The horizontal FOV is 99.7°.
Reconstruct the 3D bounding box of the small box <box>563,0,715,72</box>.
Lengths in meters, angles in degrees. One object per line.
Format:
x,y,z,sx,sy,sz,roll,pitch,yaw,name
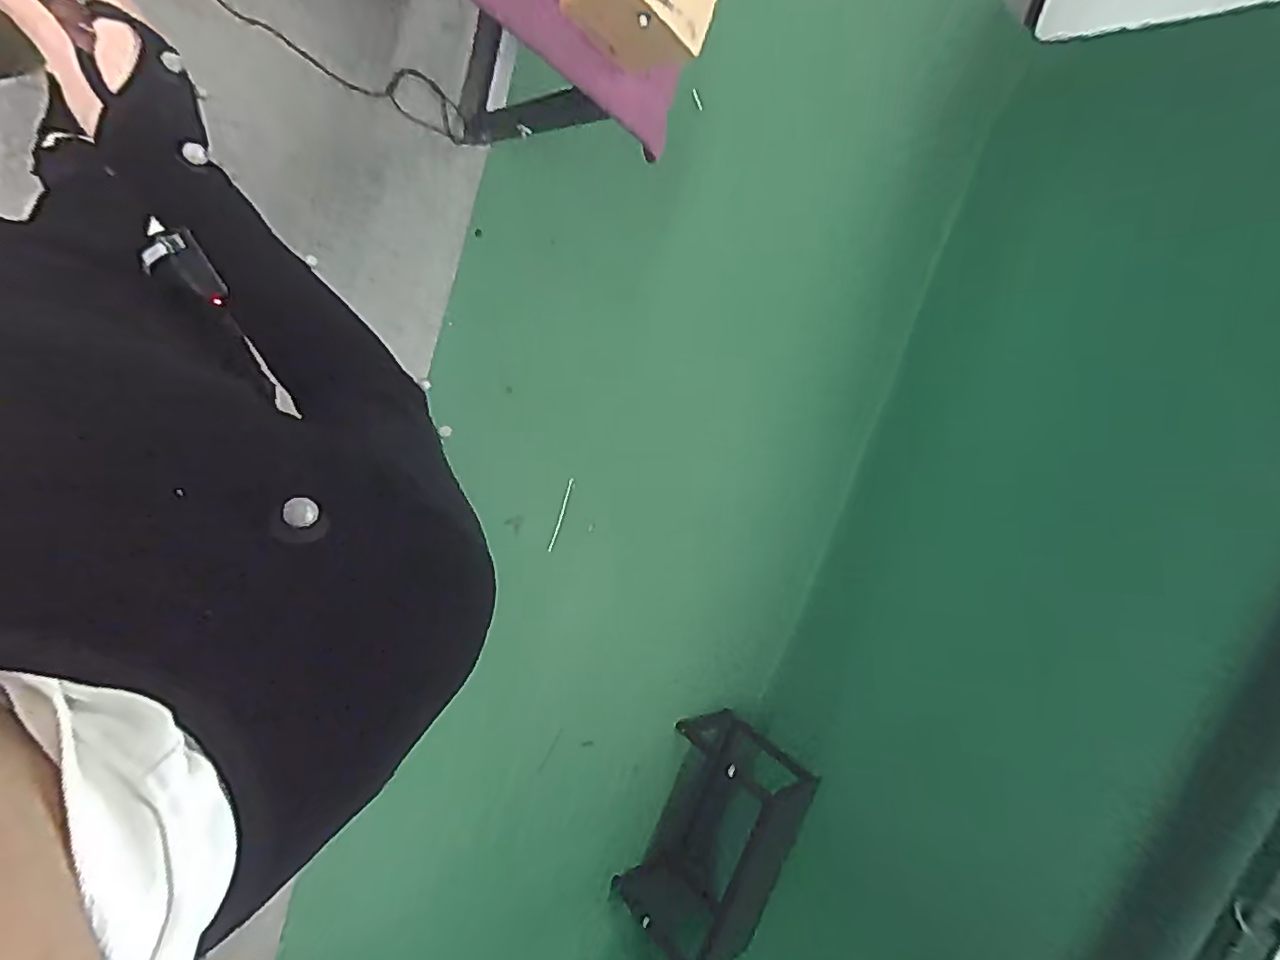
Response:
0.007,-0.772,0.822,0.168,0.176,0.179,11,102,-44,small box
